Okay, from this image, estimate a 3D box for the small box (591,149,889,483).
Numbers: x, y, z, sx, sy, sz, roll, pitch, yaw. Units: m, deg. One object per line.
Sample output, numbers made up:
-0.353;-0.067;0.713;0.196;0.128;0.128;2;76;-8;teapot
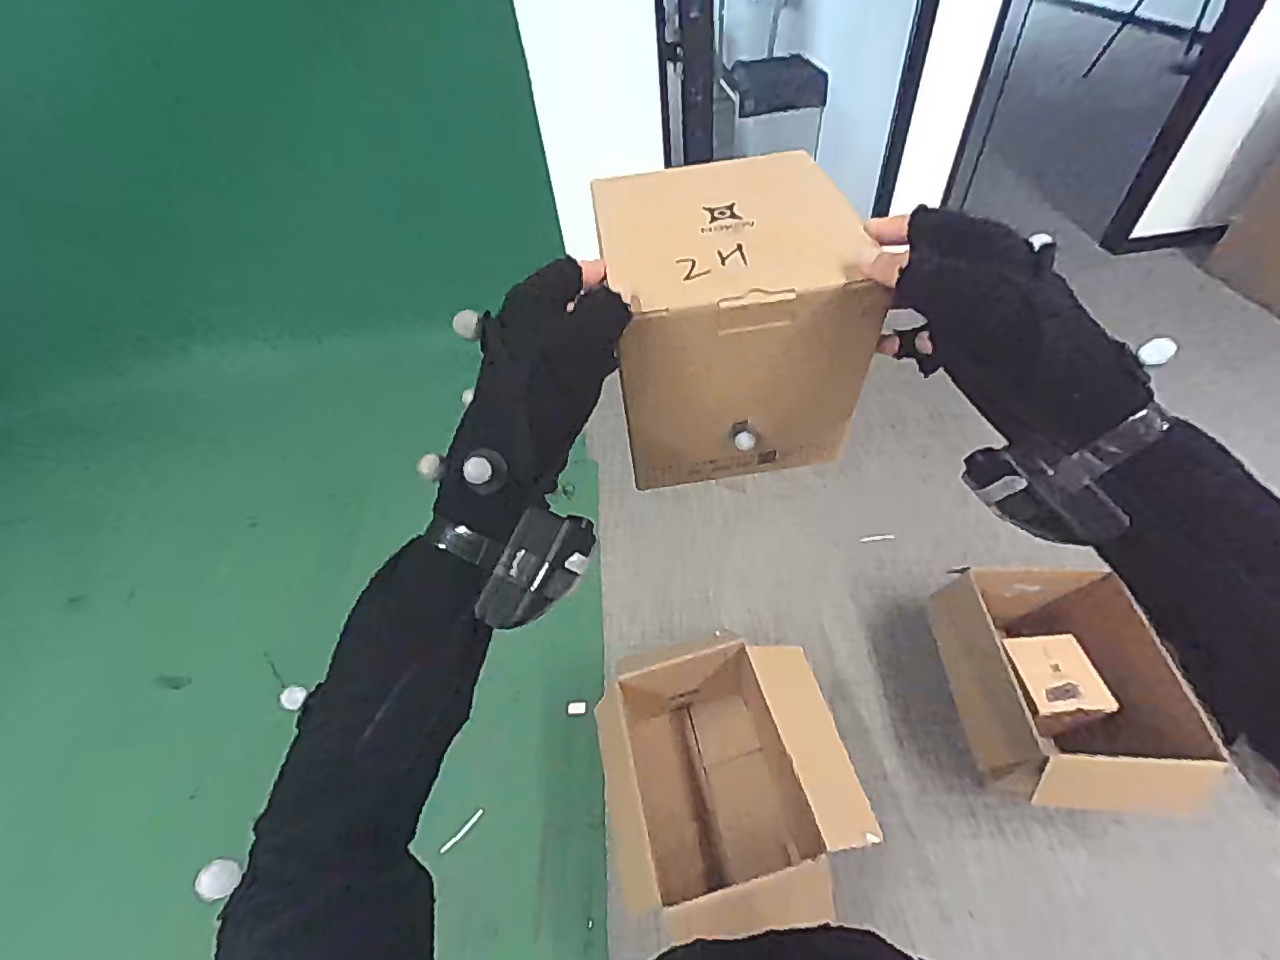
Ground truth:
0.058;-0.122;0.418;0.168;0.176;0.179;-9;53;0;small box
